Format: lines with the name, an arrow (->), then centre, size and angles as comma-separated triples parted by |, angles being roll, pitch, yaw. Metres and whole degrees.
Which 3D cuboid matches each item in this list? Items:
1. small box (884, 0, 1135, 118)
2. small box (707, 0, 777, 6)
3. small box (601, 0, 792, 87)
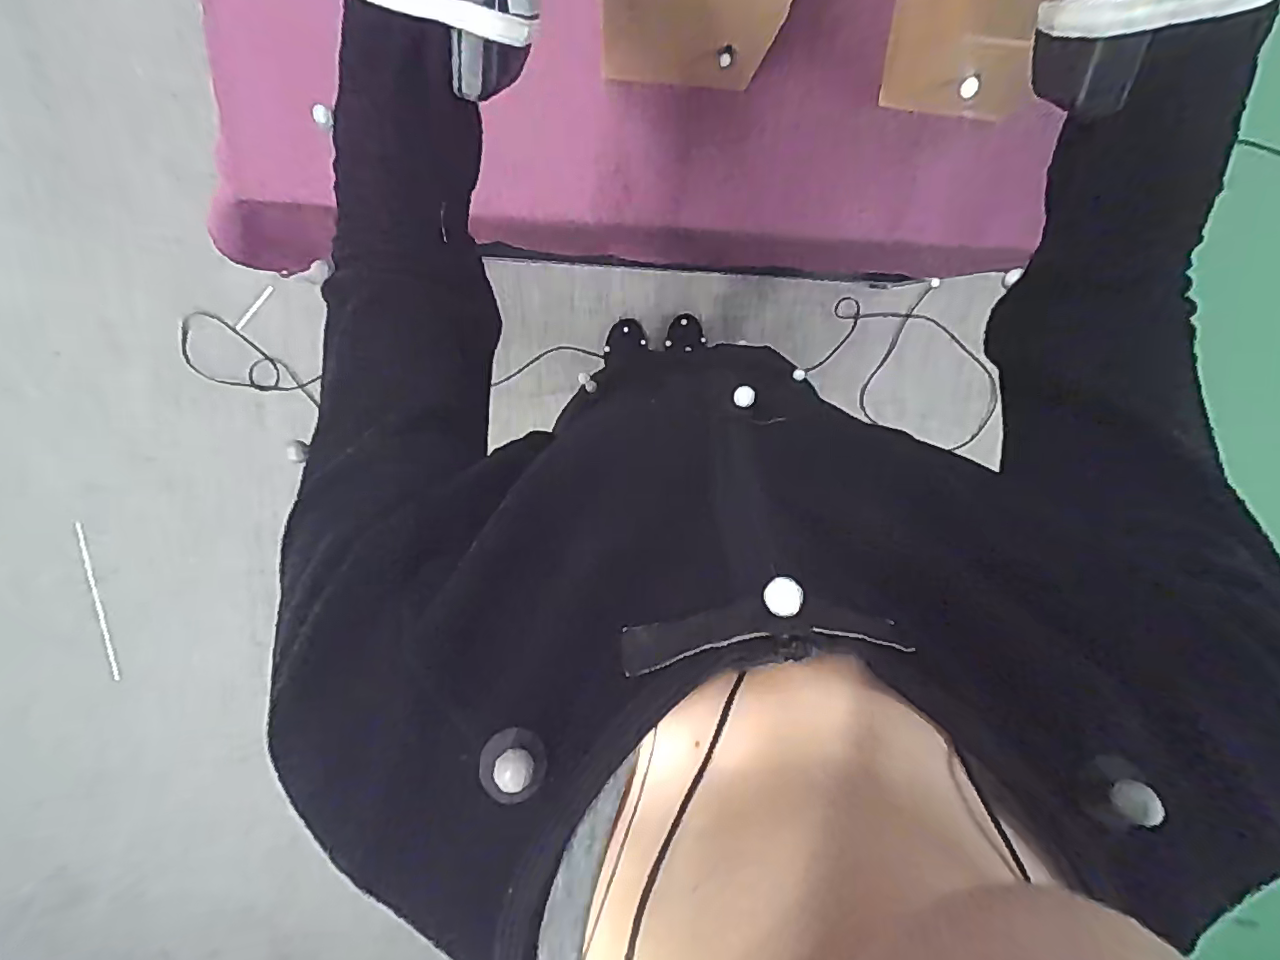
small box -> 0.386, -0.517, 0.574 | 0.168, 0.176, 0.179 | 4, 103, -4
small box -> 0.058, -0.490, 0.389 | 0.179, 0.176, 0.168 | 3, 103, -4
small box -> 0.052, -0.532, 0.549 | 0.179, 0.176, 0.168 | 2, 103, -4
